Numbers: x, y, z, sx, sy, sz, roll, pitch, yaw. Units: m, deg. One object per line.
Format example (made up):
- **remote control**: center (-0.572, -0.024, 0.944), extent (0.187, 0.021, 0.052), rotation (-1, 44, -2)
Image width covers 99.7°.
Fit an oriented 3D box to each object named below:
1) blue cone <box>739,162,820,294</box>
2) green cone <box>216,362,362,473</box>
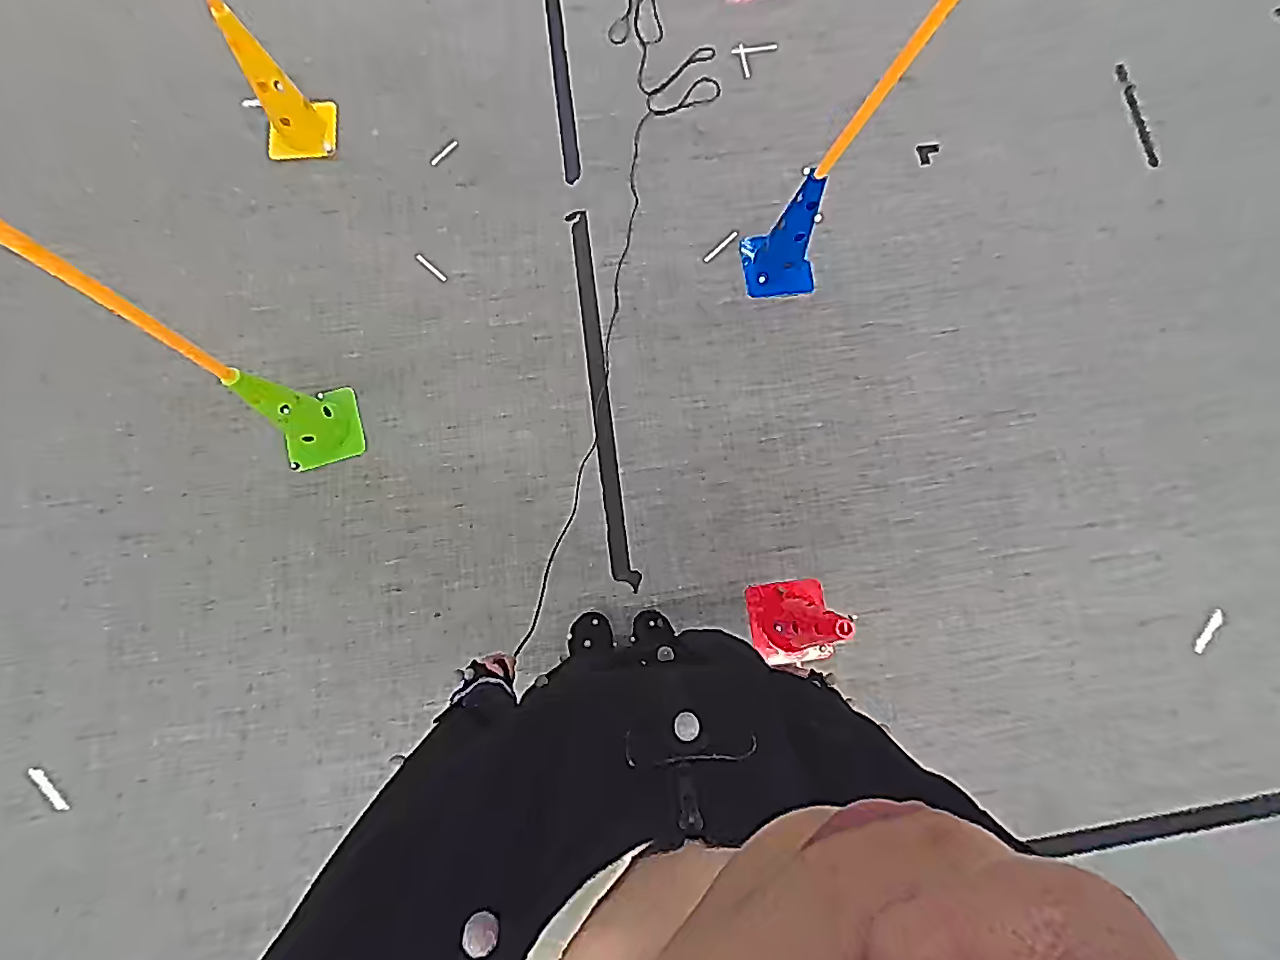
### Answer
- **blue cone**: center (0.404, -0.680, 1.449), extent (0.193, 0.380, 0.192), rotation (-5, 77, -3)
- **green cone**: center (-0.855, -0.177, 1.288), extent (0.200, 0.368, 0.202), rotation (-18, 76, -6)
